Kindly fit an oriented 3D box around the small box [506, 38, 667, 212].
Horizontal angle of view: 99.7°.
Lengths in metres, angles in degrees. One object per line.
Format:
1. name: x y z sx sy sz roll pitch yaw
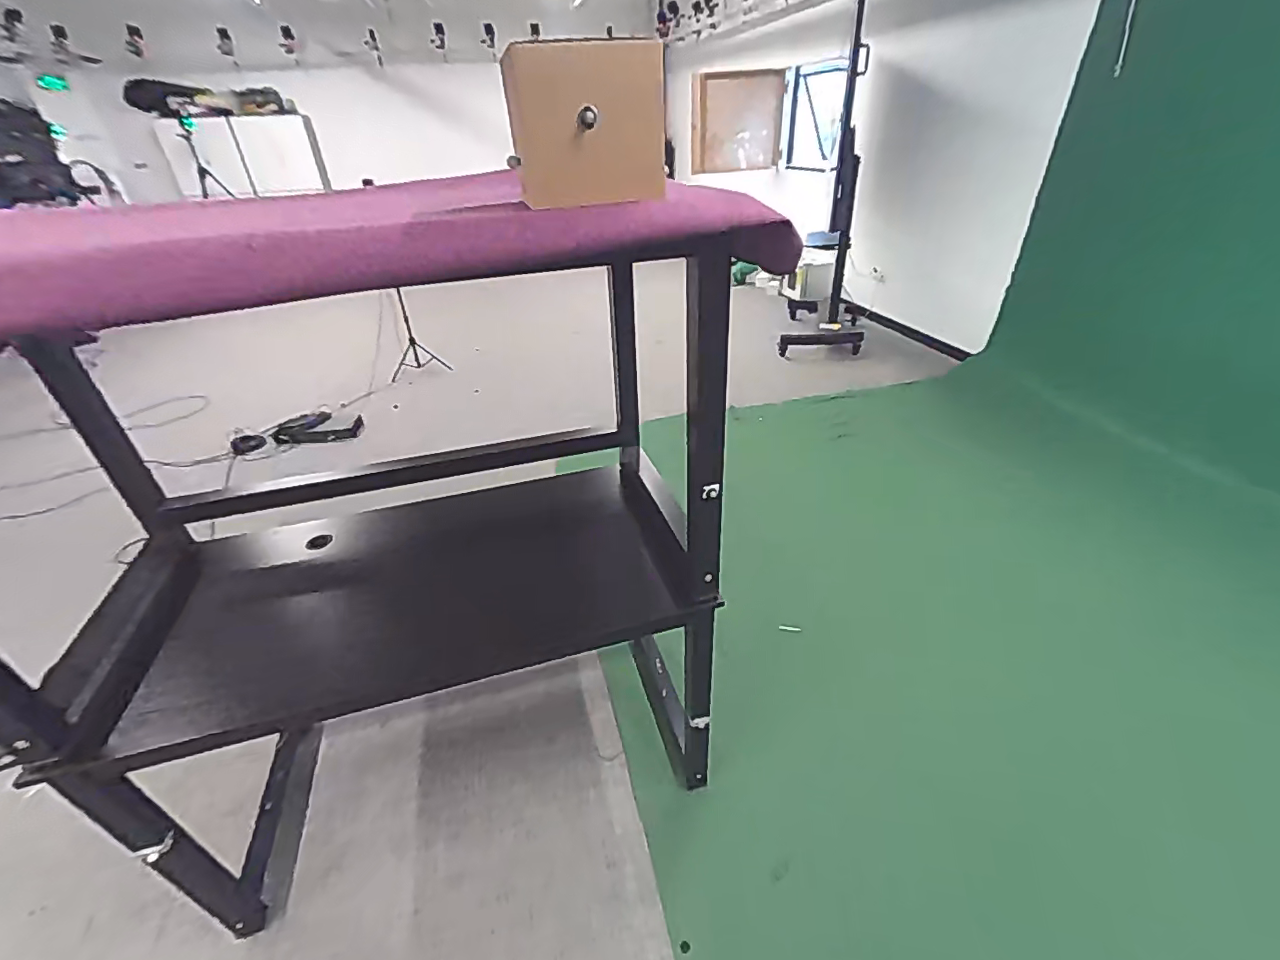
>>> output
1. small box: -0.070 -0.460 0.708 0.179 0.176 0.168 -11 34 -11
